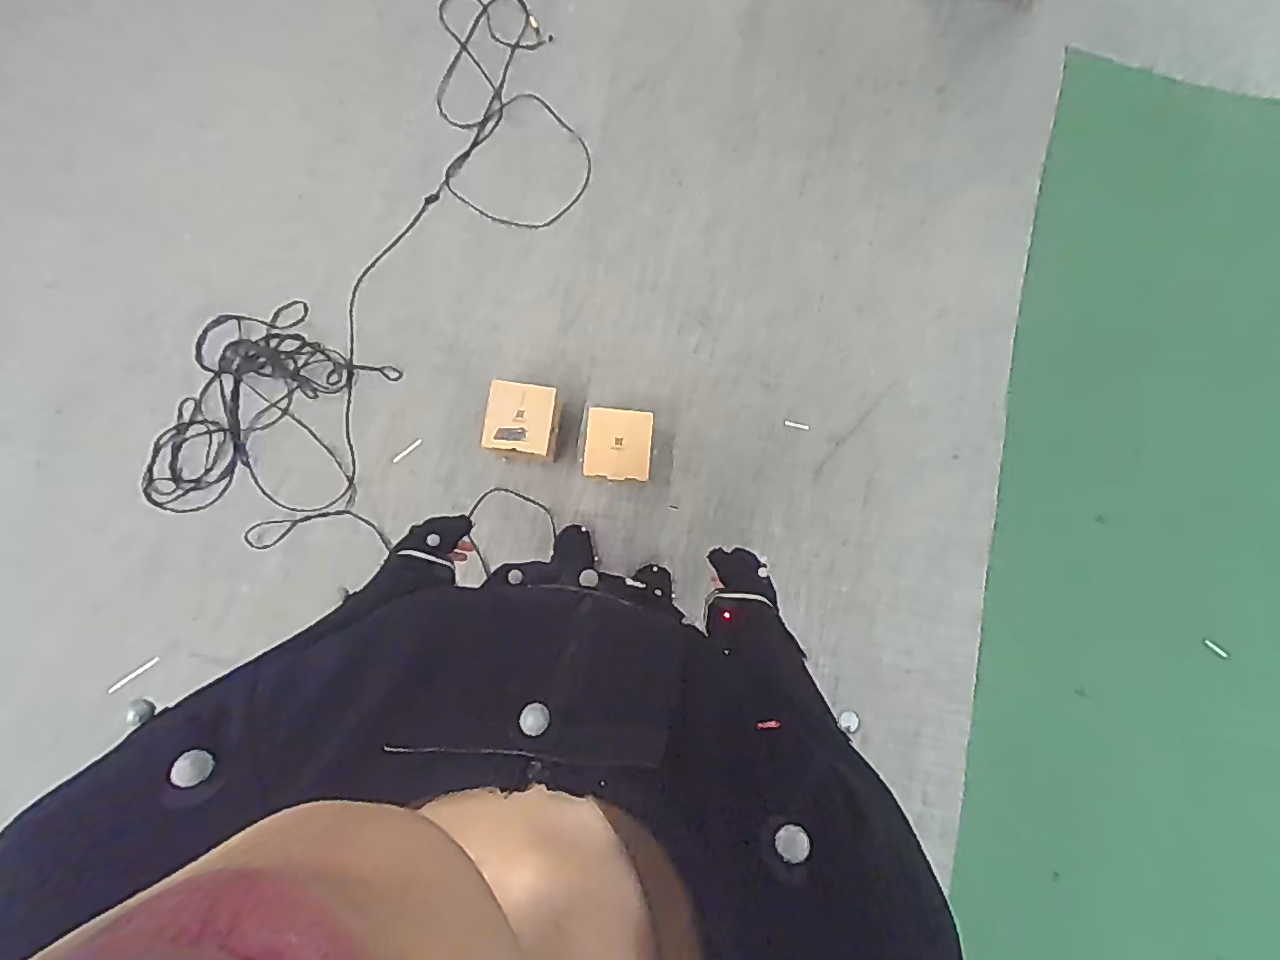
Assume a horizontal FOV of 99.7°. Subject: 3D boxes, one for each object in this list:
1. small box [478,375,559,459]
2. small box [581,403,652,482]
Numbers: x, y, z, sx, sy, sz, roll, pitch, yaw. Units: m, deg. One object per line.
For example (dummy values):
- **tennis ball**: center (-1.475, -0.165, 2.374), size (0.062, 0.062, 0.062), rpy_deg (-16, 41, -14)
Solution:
- **small box**: center (-0.310, -0.157, 1.418), size (0.168, 0.176, 0.179), rpy_deg (8, 84, -3)
- **small box**: center (-0.063, -0.093, 1.428), size (0.168, 0.176, 0.179), rpy_deg (5, 86, -3)
